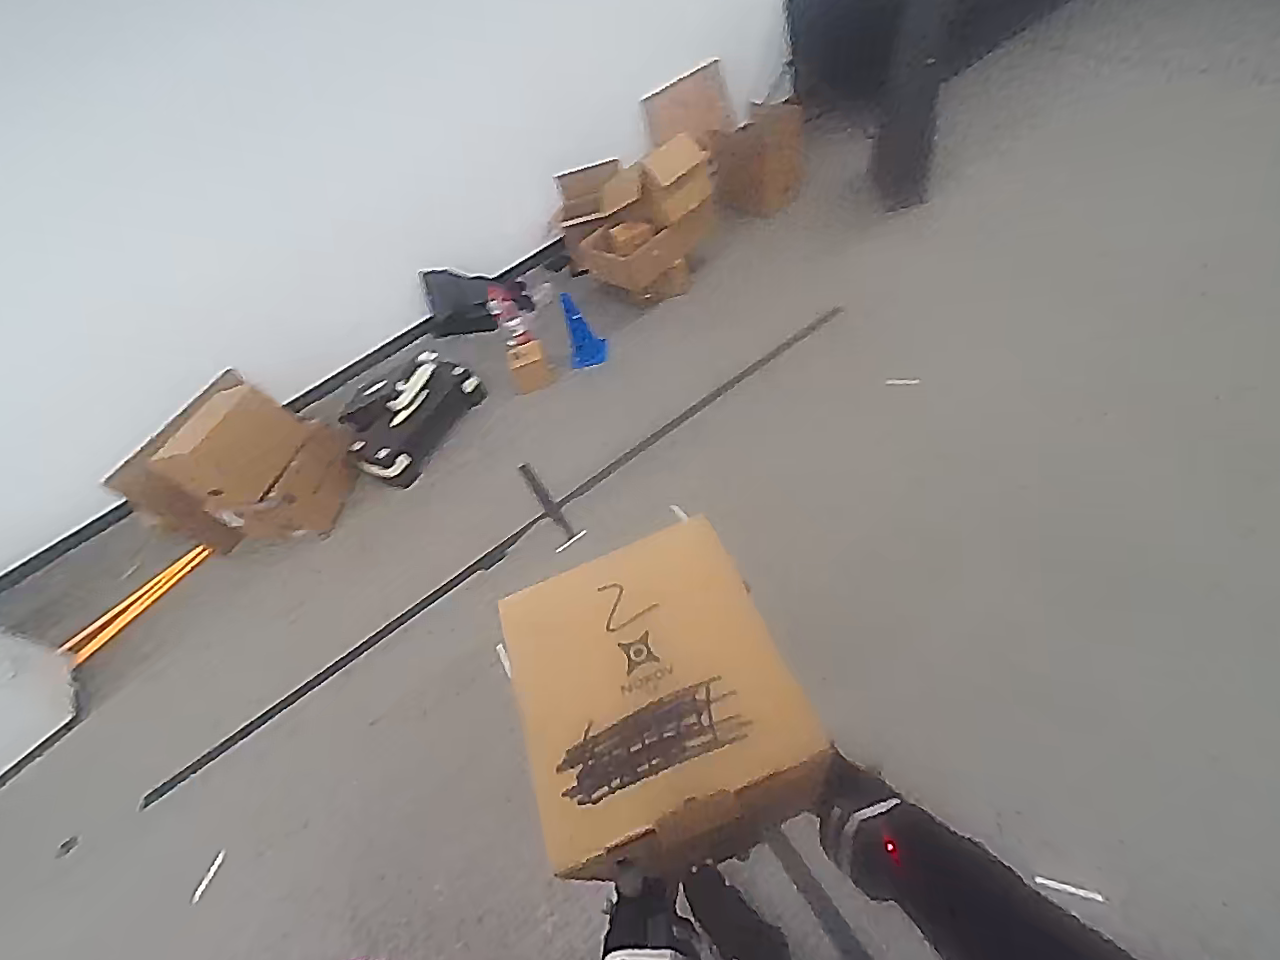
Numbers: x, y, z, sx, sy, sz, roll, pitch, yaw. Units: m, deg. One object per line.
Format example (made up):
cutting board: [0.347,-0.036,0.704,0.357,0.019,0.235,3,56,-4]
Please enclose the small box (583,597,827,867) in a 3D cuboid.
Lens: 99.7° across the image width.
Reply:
small box: [0.061,0.251,0.534,0.168,0.176,0.179,-23,52,-2]
